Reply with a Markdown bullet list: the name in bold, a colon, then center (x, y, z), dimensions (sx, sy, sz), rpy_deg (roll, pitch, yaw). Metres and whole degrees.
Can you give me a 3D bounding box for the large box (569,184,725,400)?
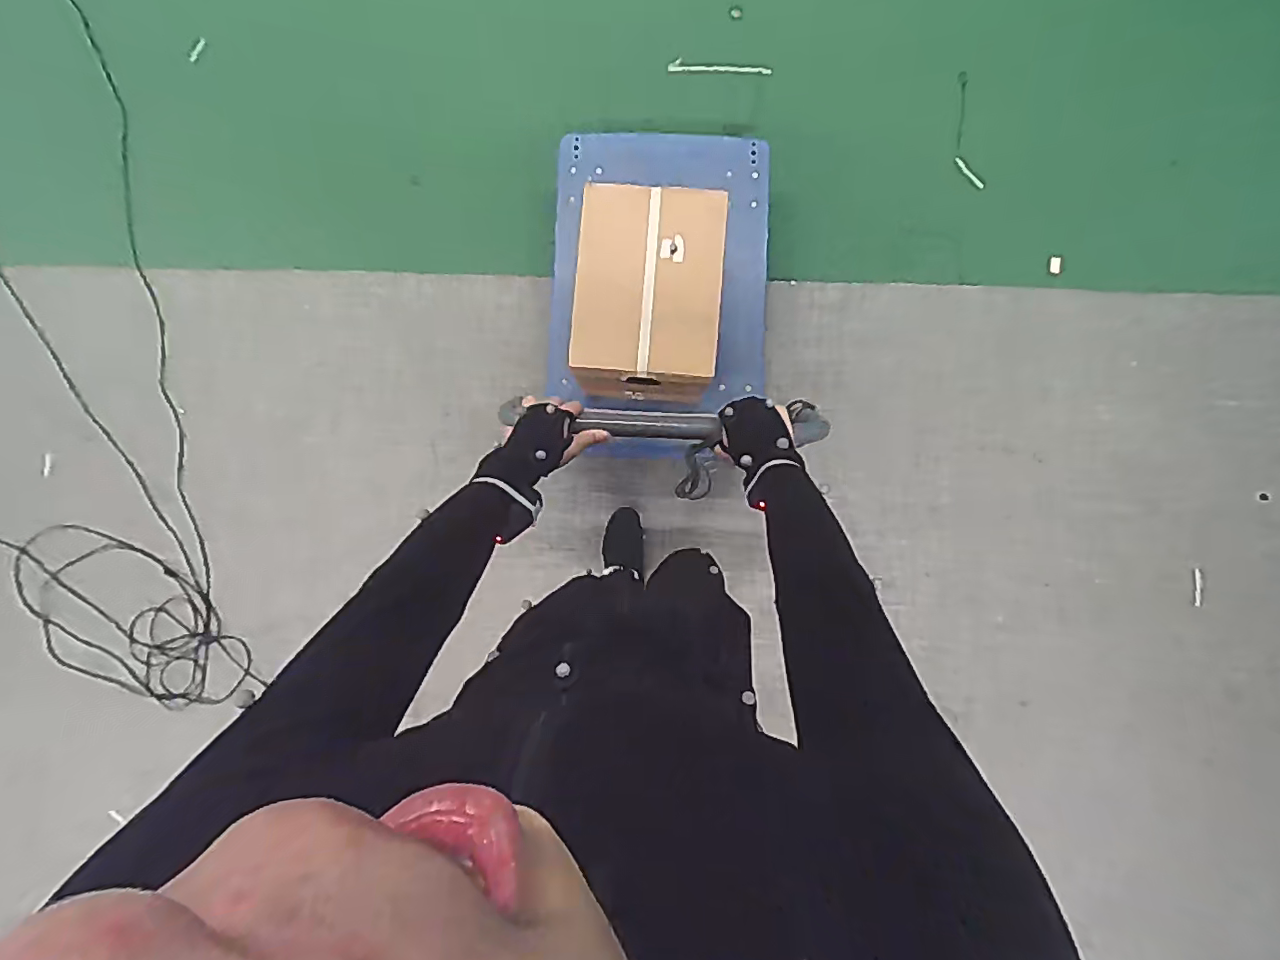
- **large box**: center (0.020, -0.423, 1.303), dimensions (0.320, 0.320, 0.408), rpy_deg (5, 87, 1)
